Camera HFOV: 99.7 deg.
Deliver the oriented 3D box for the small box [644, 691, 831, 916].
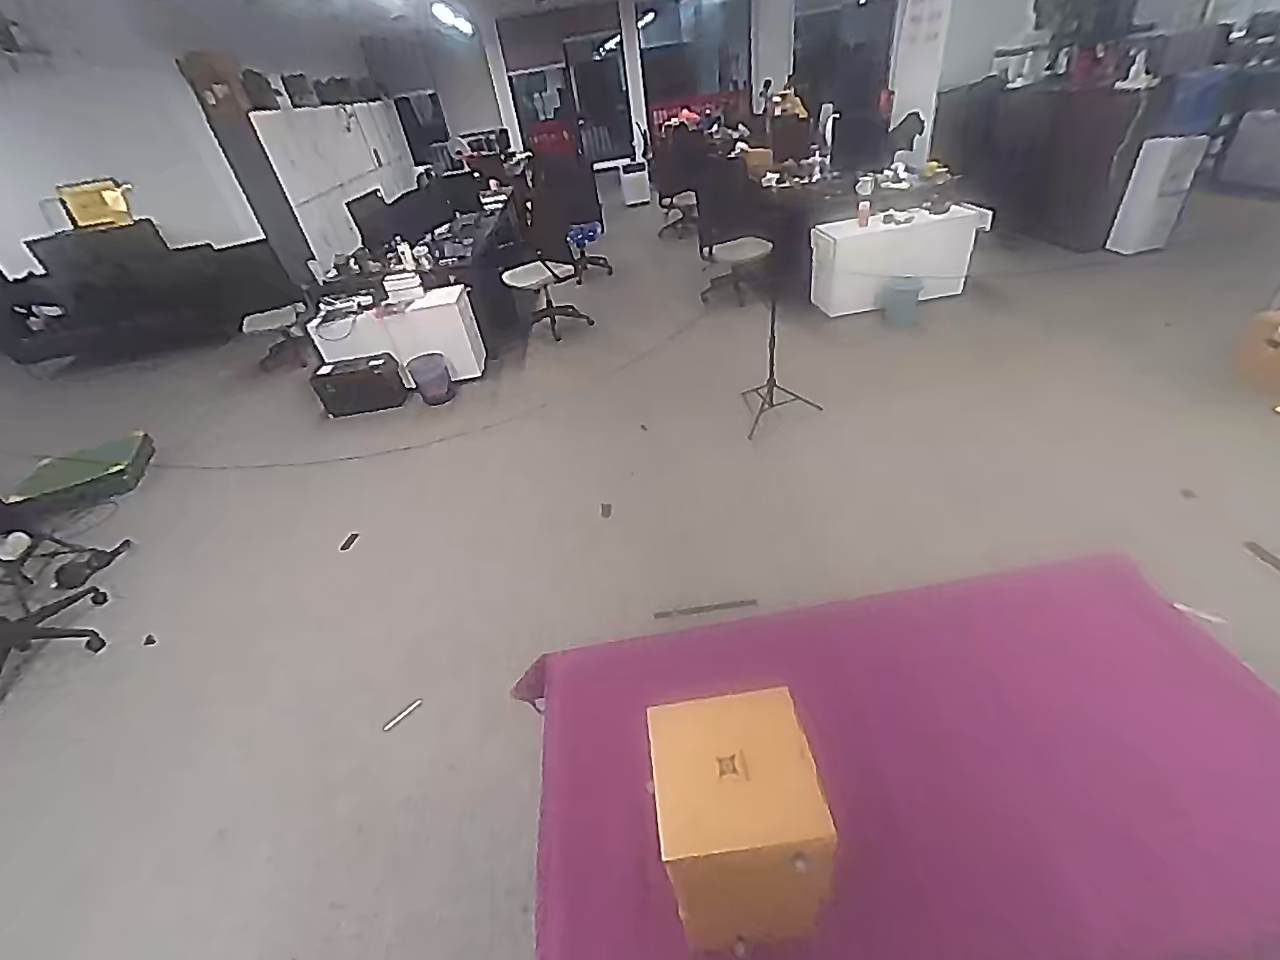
[{"bbox_3d":[0.107,0.378,0.631,0.179,0.176,0.168,-9,37,1],"label":"small box"}]
